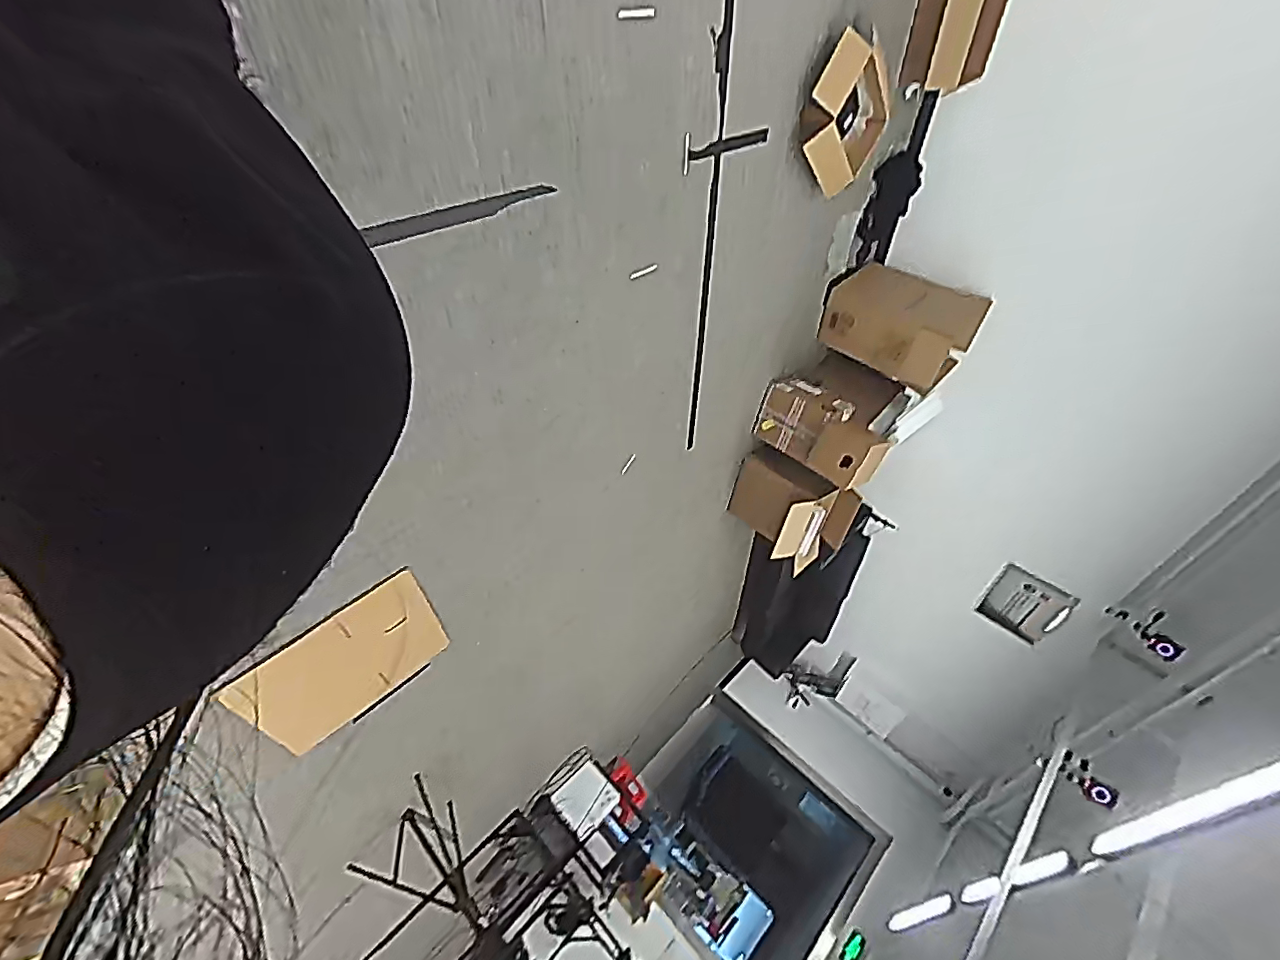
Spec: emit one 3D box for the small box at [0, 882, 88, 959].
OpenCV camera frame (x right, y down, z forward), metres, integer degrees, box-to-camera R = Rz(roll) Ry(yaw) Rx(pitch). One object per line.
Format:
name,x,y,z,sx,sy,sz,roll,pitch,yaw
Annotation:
small box,-1.445,1.101,1.260,0.179,0.176,0.168,-59,150,5
